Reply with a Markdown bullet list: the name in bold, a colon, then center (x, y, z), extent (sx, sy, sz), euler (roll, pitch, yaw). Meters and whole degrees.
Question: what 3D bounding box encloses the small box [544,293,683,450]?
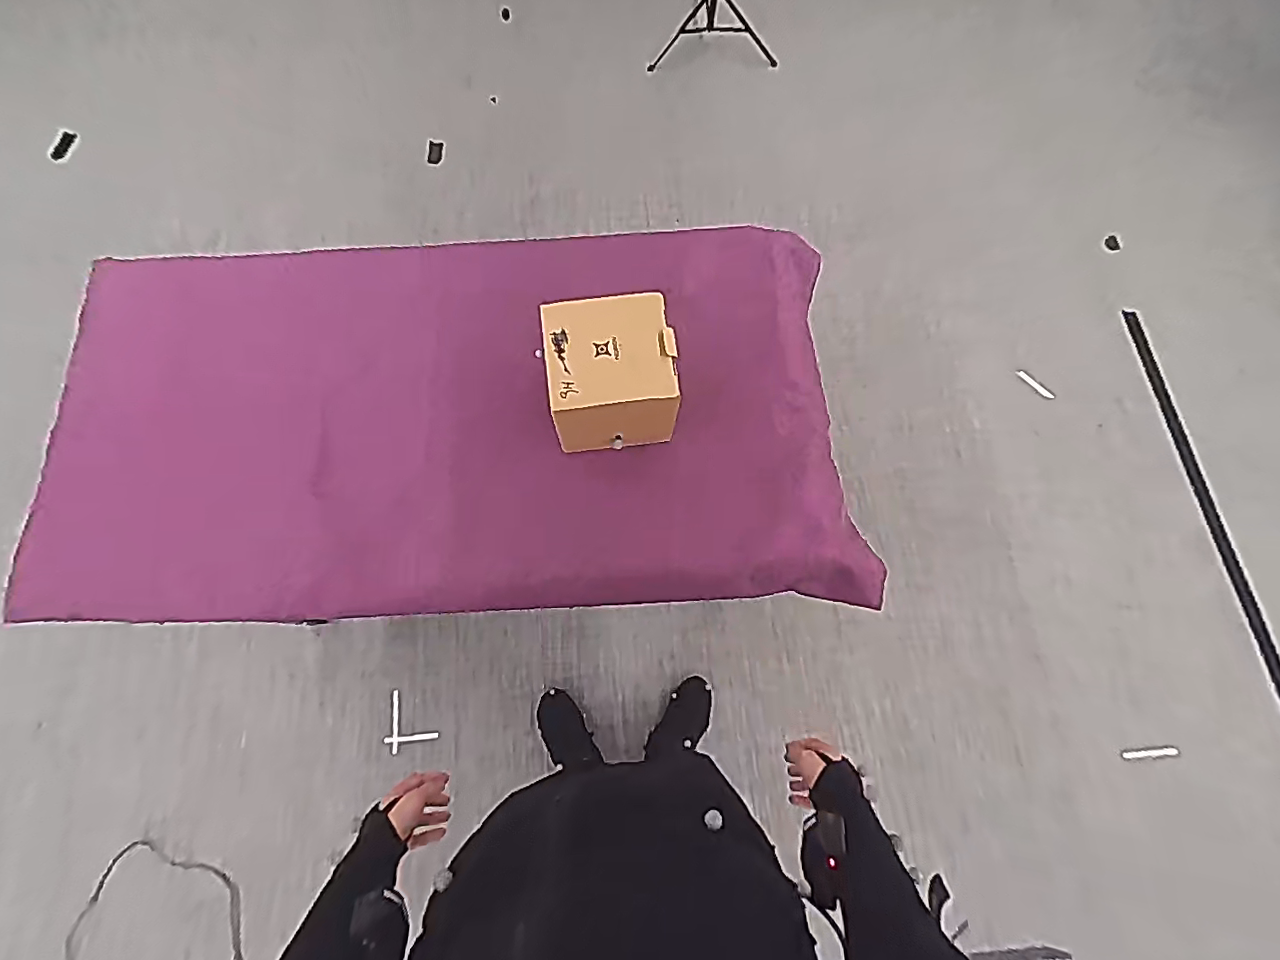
- **small box**: center (-0.042, -0.154, 0.808), extent (0.179, 0.176, 0.168), euler (-7, 73, -4)
